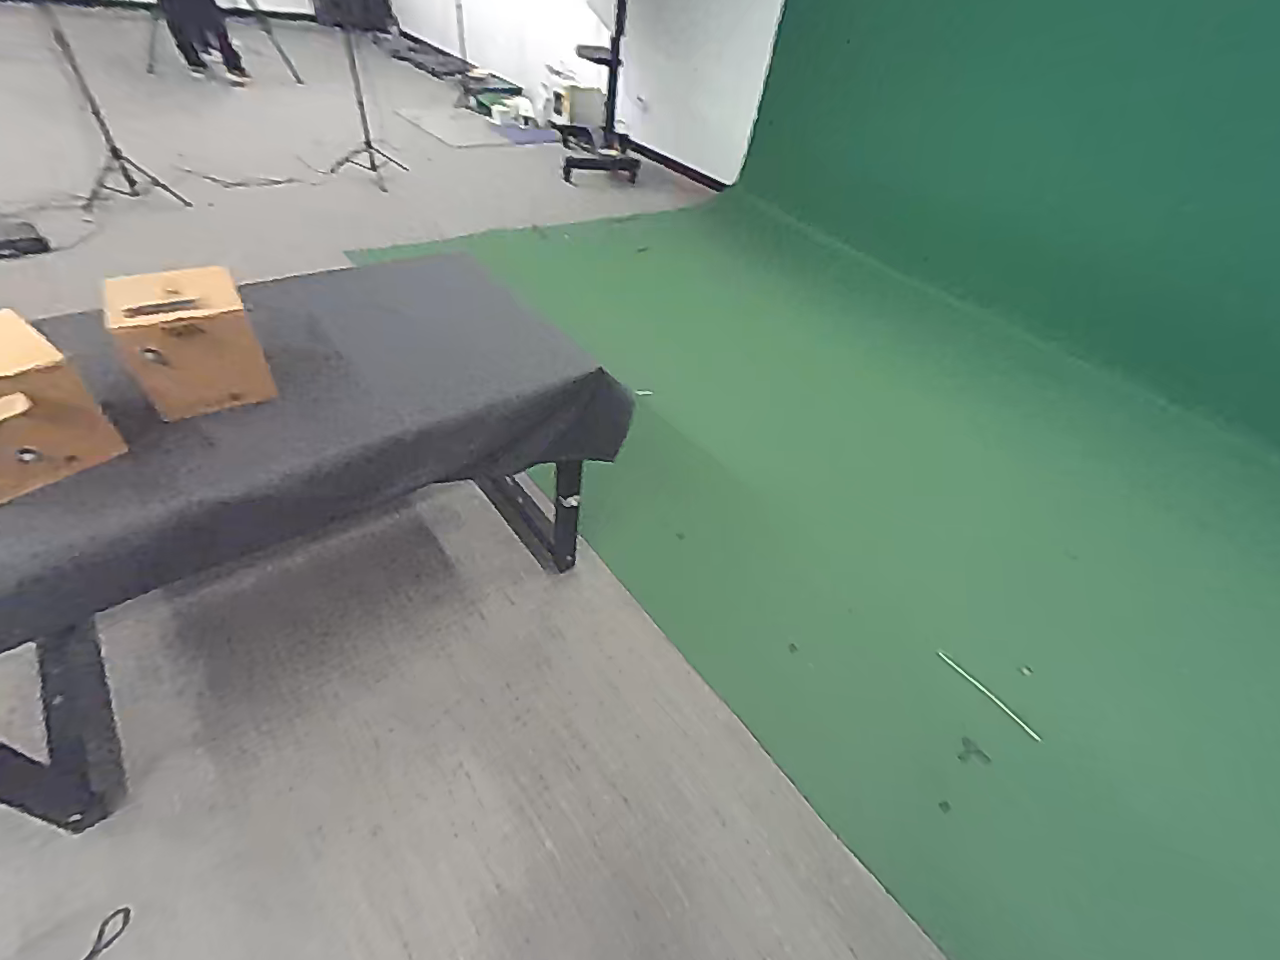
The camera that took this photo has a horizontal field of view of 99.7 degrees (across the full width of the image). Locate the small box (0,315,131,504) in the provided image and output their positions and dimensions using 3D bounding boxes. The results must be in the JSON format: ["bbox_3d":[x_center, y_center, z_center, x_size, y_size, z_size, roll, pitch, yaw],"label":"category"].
[{"bbox_3d":[-0.872,-0.098,0.746,0.179,0.176,0.168,31,47,20],"label":"small box"}]
